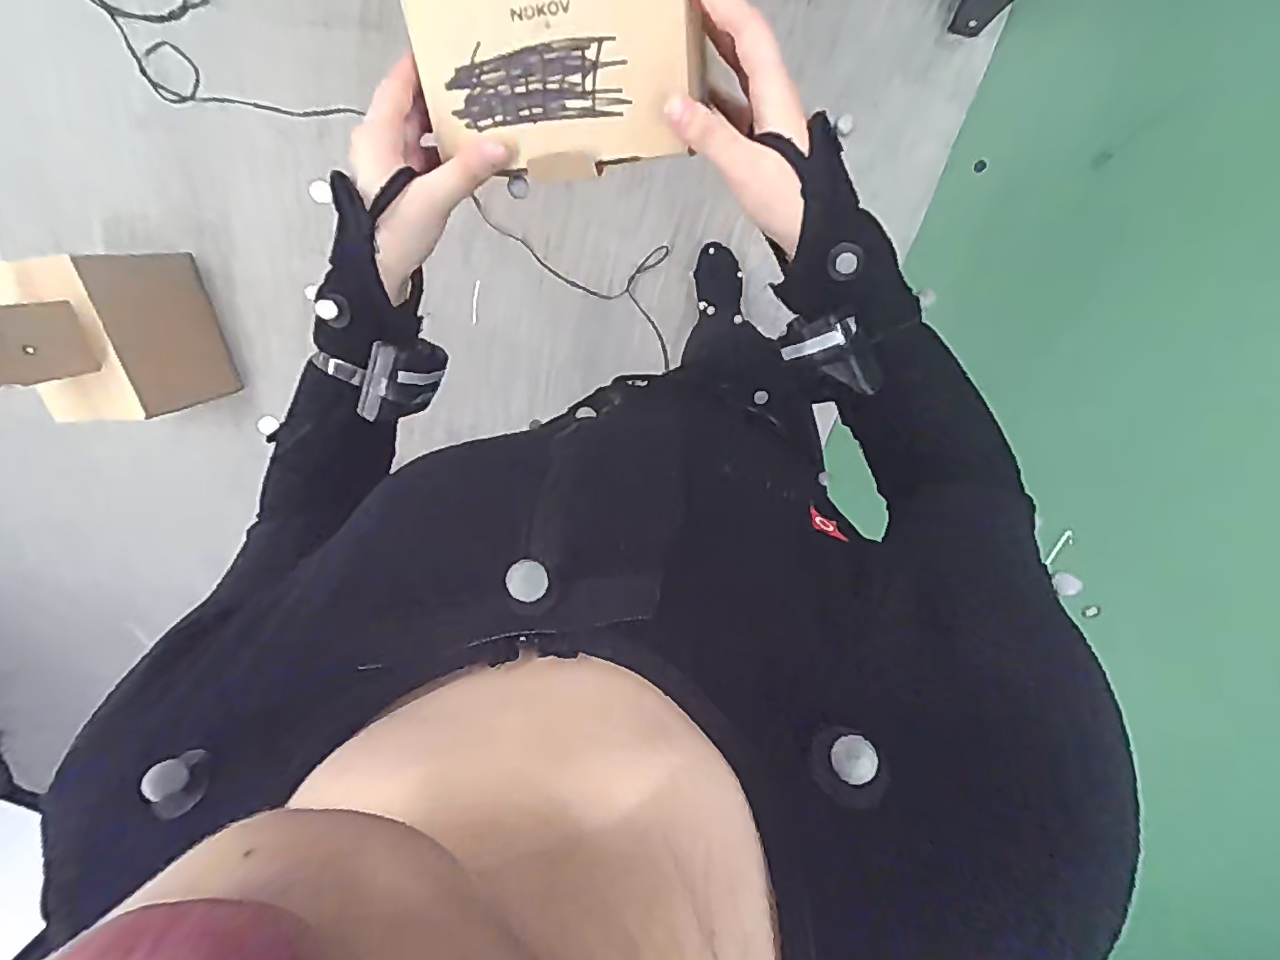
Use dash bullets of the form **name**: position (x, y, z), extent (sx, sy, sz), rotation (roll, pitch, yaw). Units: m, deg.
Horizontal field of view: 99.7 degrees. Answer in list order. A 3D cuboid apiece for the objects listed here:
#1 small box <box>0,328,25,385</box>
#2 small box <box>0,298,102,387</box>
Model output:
- **small box**: position (-1.478, -0.274, 1.127), extent (0.168, 0.176, 0.179), rotation (0, 114, 10)
- **small box**: position (-1.450, -0.327, 1.279), extent (0.168, 0.176, 0.179), rotation (-1, 113, 10)
